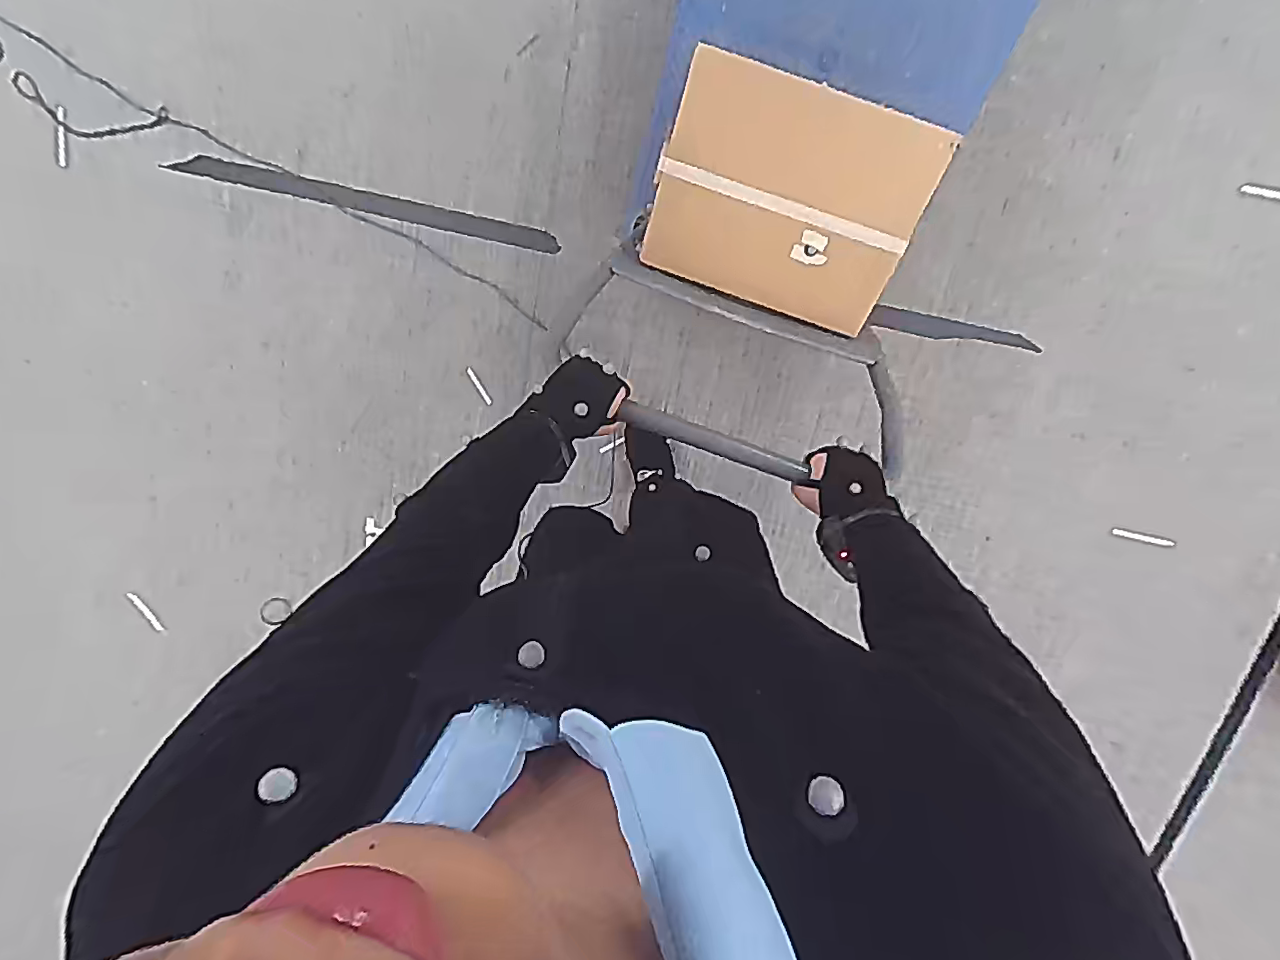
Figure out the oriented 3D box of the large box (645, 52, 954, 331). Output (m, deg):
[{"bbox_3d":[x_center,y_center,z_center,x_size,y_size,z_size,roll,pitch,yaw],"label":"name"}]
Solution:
[{"bbox_3d":[0.258,-0.522,0.996,0.408,0.320,0.320,19,125,-1],"label":"large box"}]
